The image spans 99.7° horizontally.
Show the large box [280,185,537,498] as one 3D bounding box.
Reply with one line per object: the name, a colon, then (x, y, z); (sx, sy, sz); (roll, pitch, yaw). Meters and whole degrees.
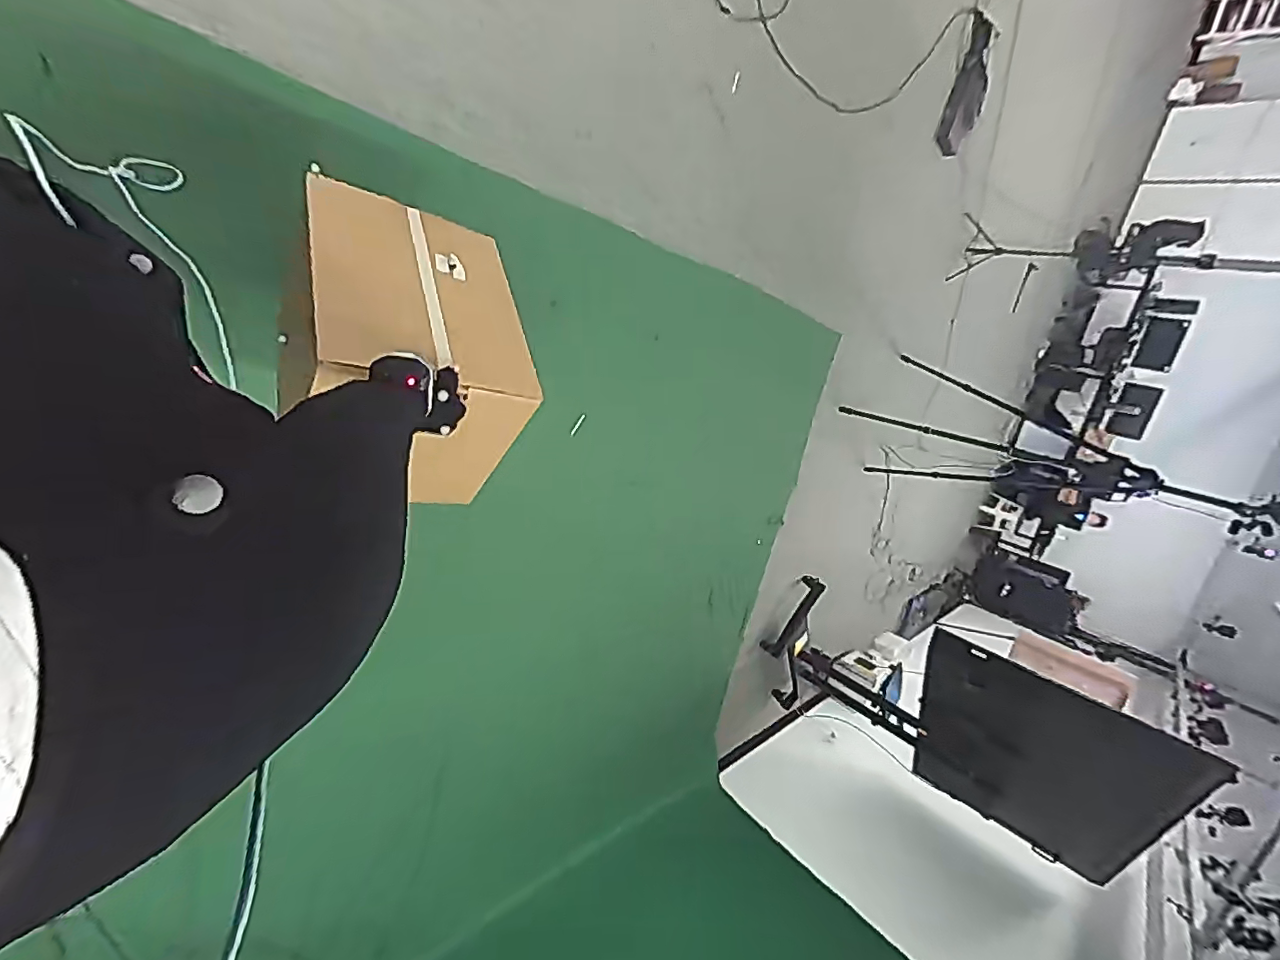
large box: (-0.428, -0.213, 0.949); (0.320, 0.408, 0.320); (4, 142, -41)
